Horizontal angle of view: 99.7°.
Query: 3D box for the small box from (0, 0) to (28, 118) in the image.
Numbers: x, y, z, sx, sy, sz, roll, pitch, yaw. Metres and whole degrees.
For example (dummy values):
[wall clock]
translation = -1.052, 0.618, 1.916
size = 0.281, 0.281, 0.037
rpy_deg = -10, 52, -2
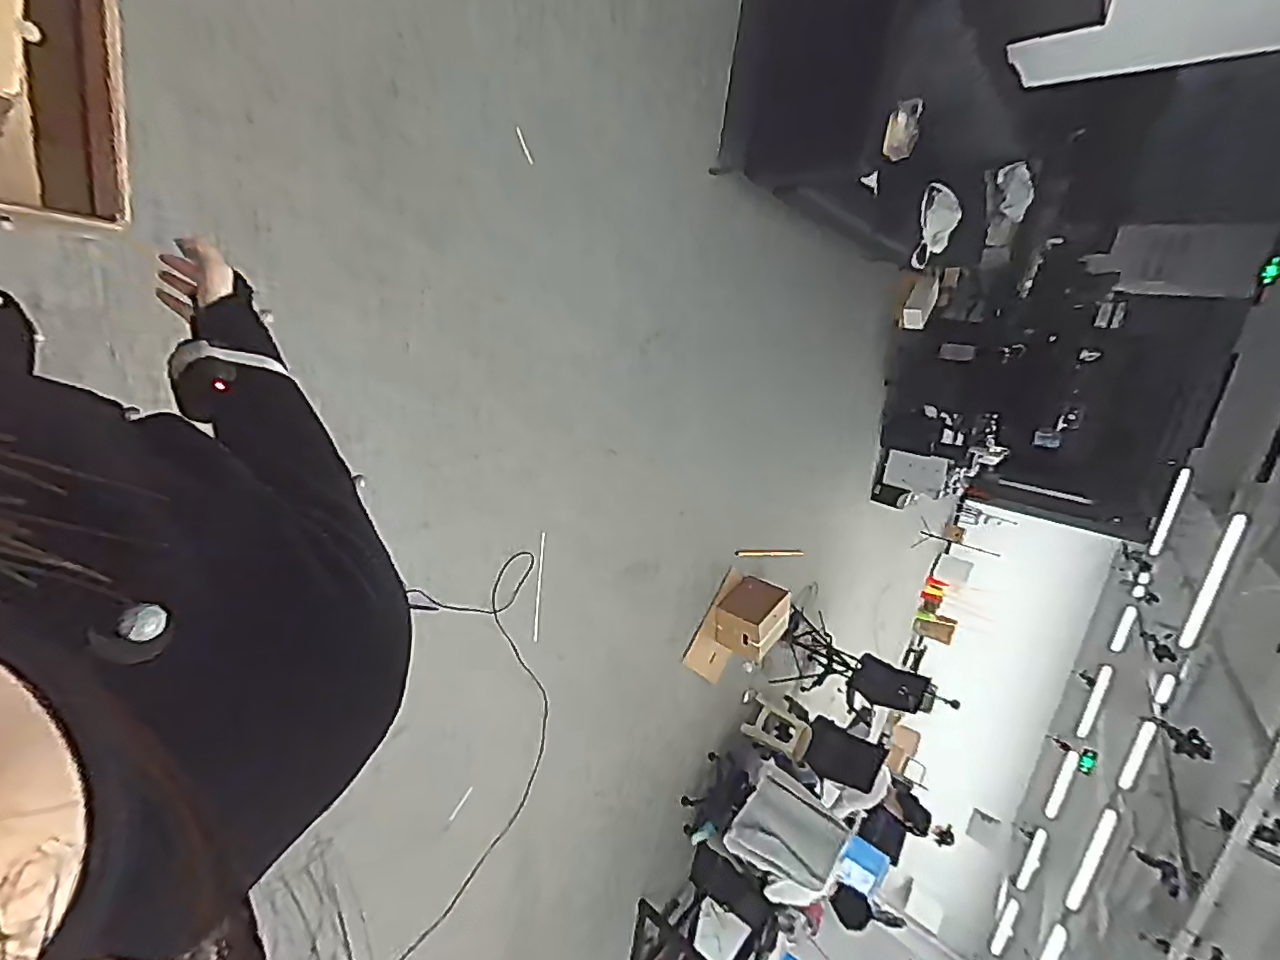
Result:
[small box]
translation = -0.587, -0.408, 0.407
size = 0.168, 0.176, 0.179
rpy_deg = 1, 105, -51
